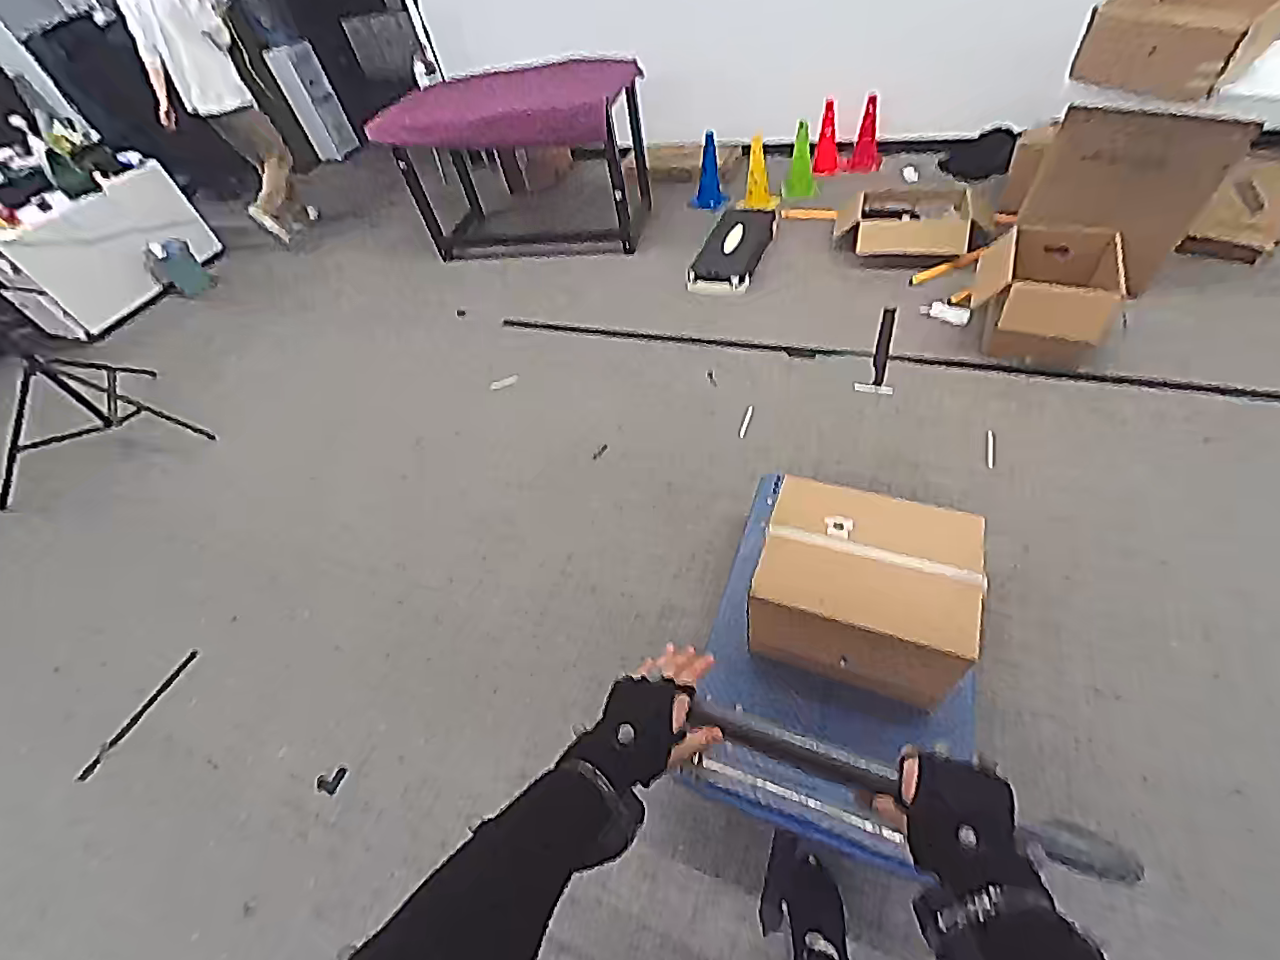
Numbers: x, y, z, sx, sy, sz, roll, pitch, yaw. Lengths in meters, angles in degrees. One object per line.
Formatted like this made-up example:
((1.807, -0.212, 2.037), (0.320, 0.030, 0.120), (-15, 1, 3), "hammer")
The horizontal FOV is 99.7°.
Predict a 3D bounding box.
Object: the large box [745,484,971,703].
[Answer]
((0.474, 0.251, 1.213), (0.408, 0.320, 0.320), (12, 54, 21), "large box")
